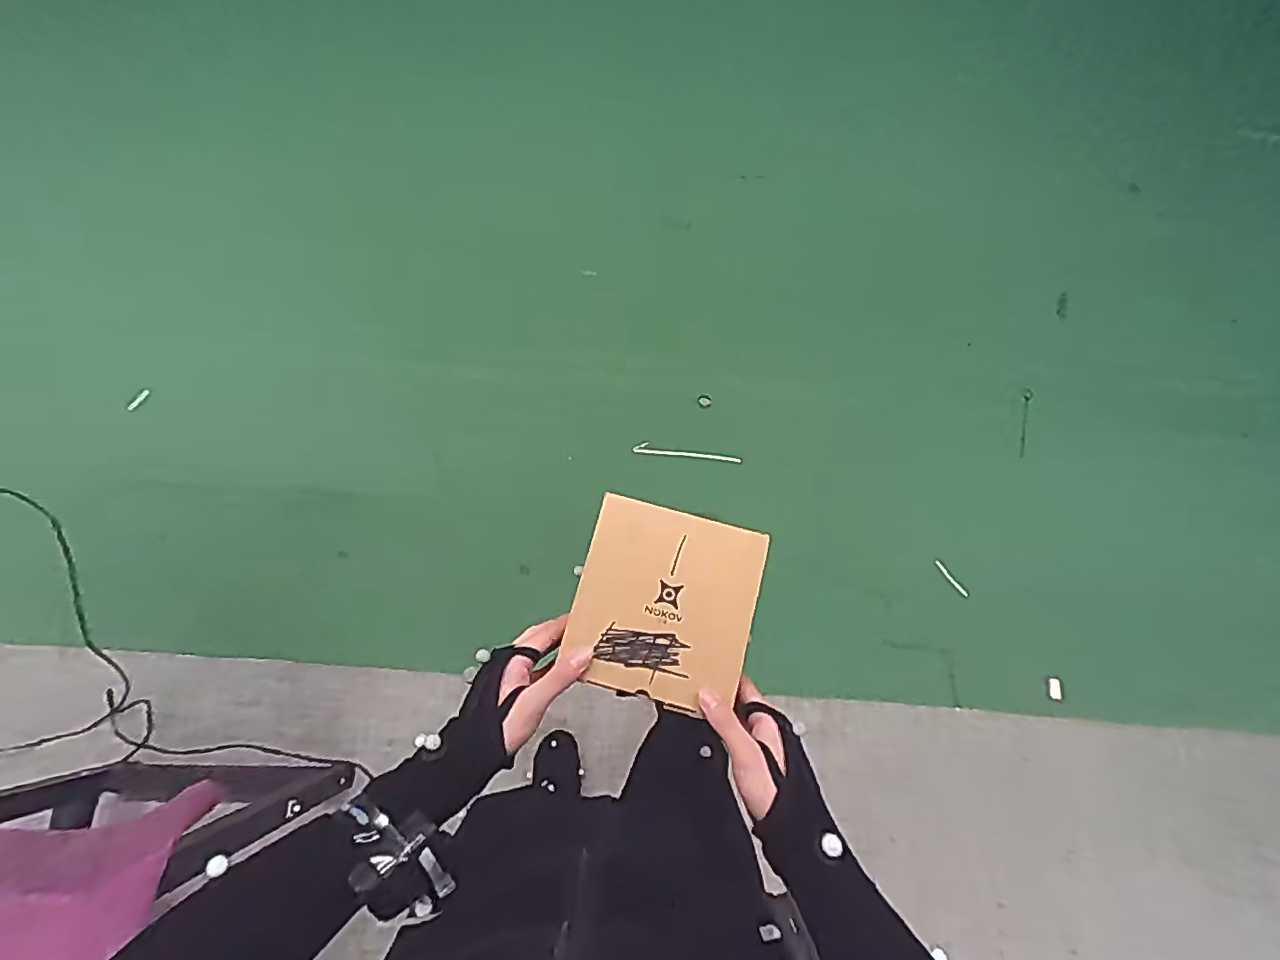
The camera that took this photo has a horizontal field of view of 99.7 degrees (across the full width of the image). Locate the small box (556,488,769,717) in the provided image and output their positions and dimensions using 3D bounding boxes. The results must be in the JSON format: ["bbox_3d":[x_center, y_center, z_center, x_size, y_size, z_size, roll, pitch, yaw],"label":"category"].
[{"bbox_3d":[0.022,0.127,0.581,0.168,0.176,0.179,16,77,1],"label":"small box"}]
